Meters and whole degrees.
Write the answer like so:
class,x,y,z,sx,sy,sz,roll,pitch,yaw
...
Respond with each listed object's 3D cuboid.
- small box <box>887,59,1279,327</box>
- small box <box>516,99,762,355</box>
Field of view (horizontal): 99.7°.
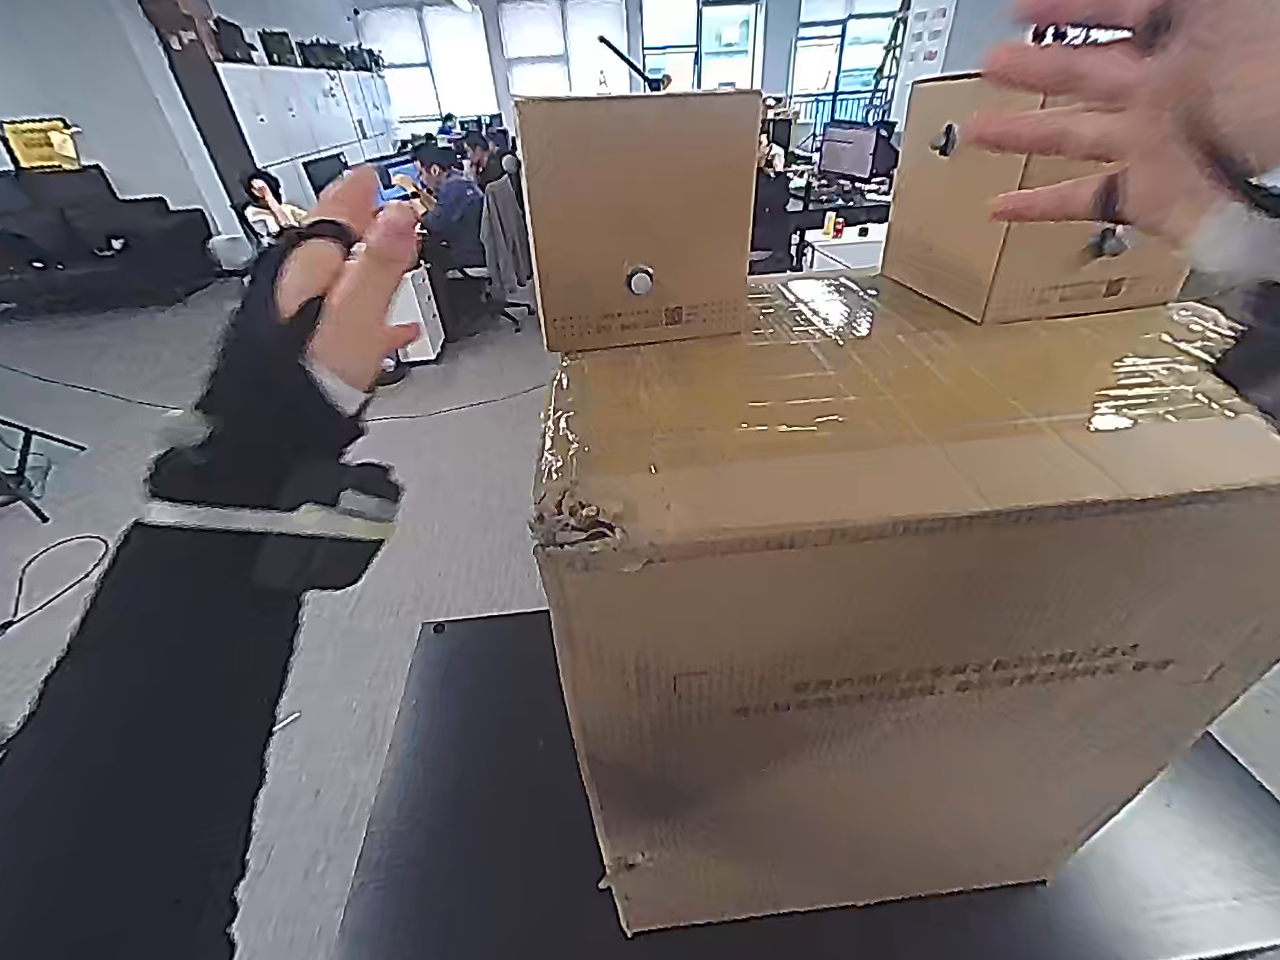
class,x,y,z,sx,sy,sz,roll,pitch,yaw
small box,0.337,-0.242,0.463,0.168,0.176,0.179,-7,35,-2
small box,-0.012,-0.219,0.462,0.168,0.176,0.179,-8,35,-8
